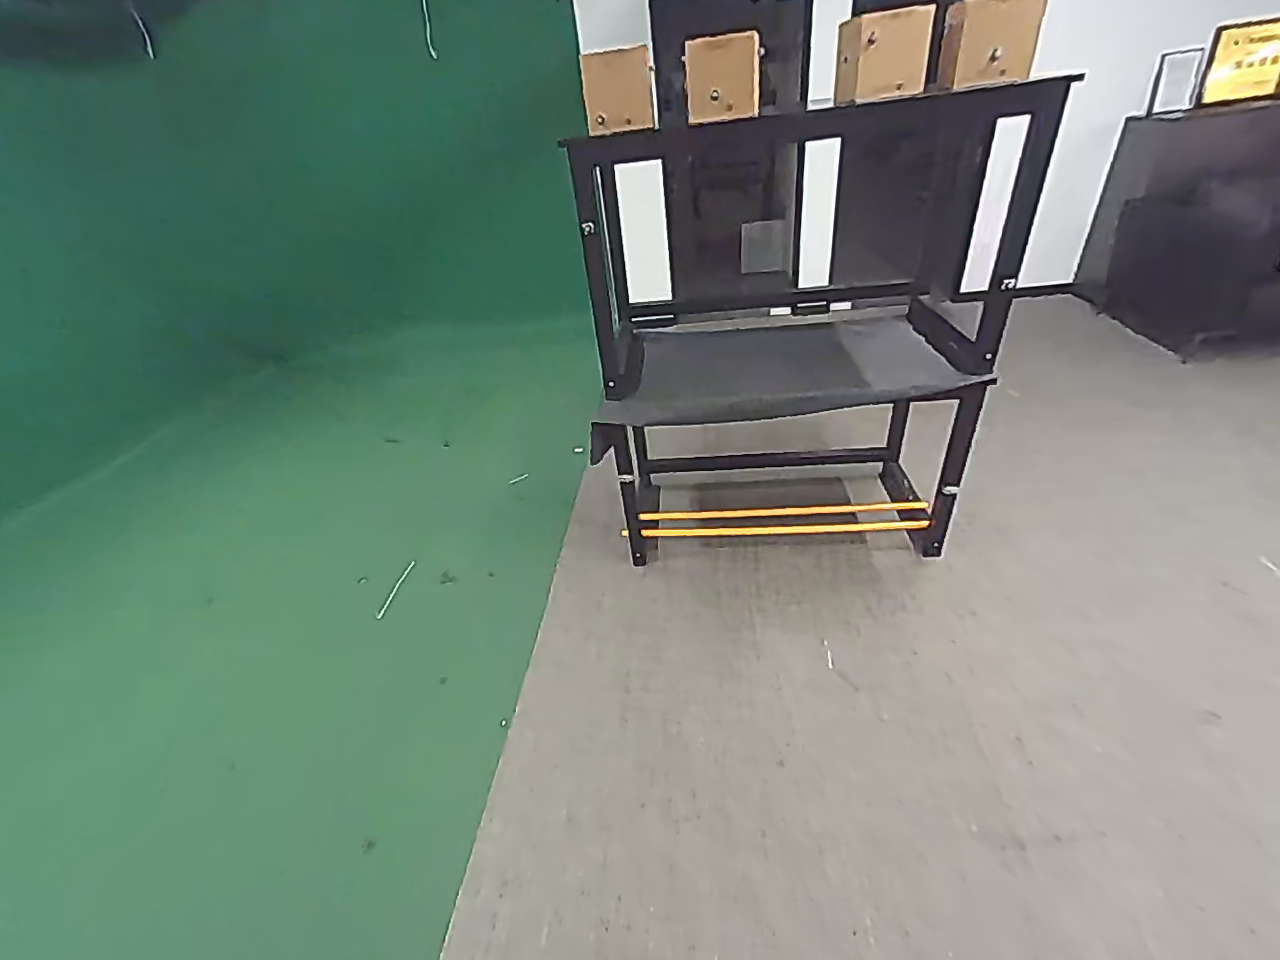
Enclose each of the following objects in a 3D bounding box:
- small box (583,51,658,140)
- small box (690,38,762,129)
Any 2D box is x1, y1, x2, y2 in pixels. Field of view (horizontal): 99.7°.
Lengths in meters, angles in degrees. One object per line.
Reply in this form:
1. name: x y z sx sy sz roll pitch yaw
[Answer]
1. small box: -0.042 -0.992 1.405 0.168 0.176 0.179 -3 33 6
2. small box: 0.221 -1.001 1.376 0.168 0.176 0.179 2 36 13
